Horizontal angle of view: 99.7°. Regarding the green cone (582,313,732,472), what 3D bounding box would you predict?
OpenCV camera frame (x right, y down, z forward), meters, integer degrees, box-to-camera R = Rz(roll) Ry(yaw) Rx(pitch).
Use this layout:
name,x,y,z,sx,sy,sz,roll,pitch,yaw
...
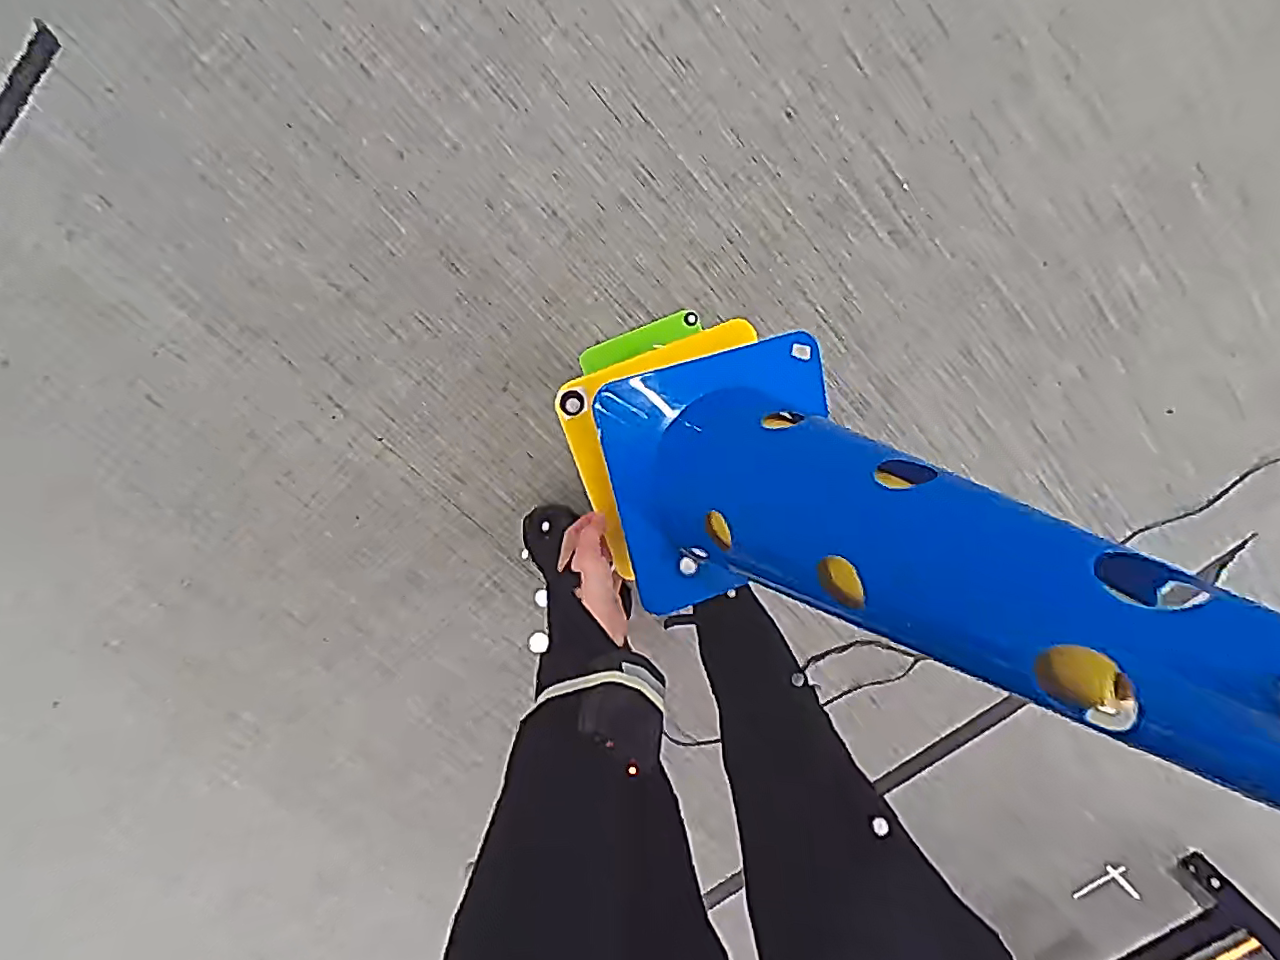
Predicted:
name,x,y,z,sx,sy,sz,roll,pitch,yaw
green cone,0.035,-0.087,0.705,0.200,0.368,0.202,-22,108,5
